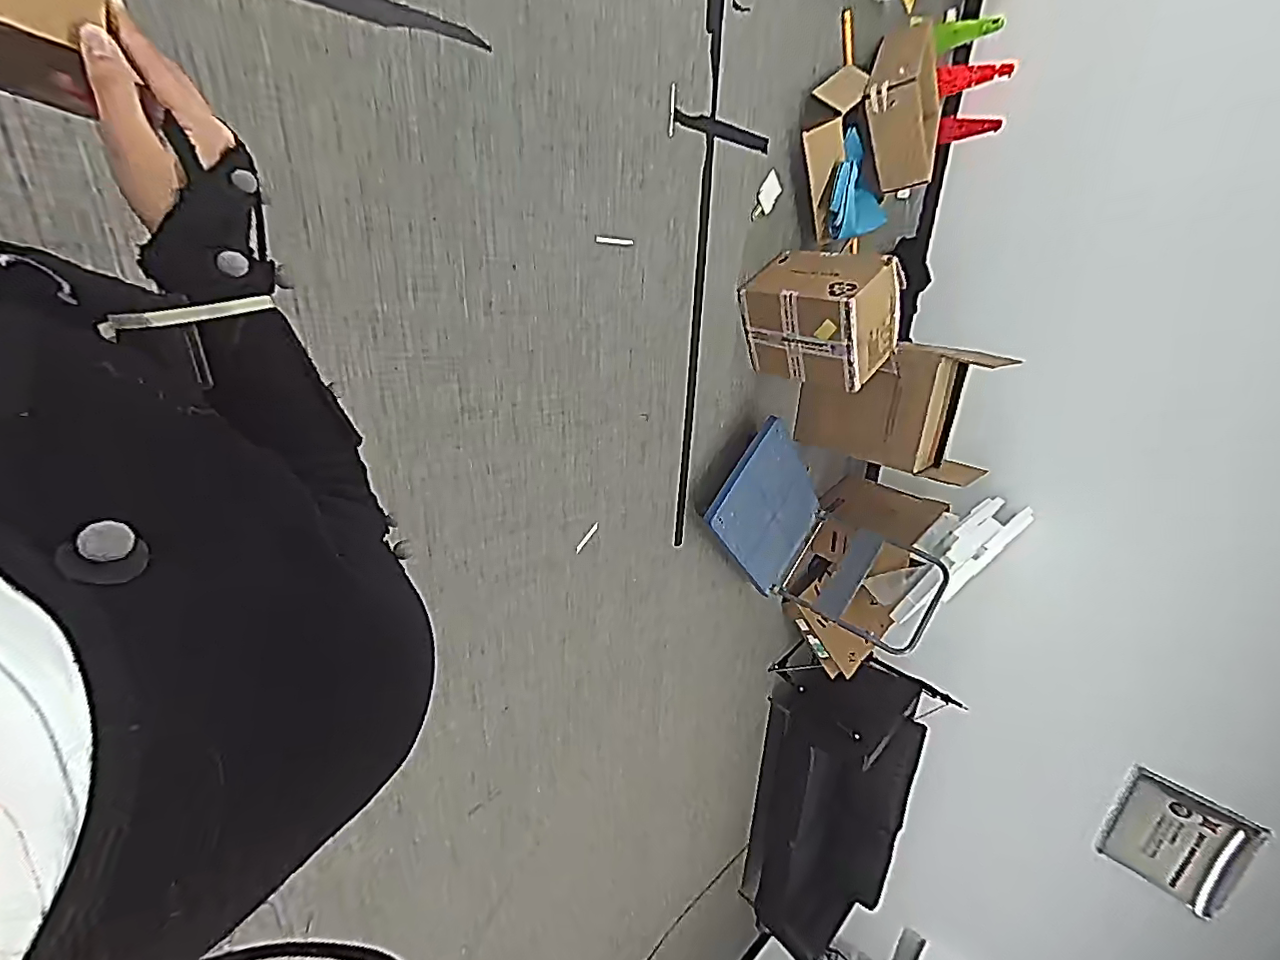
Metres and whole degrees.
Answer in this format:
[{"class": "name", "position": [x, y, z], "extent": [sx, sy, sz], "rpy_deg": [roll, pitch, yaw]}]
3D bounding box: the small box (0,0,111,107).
[{"class": "small box", "position": [-0.389, -0.336, 0.277], "extent": [0.168, 0.176, 0.179], "rpy_deg": [0, 105, -46]}]
